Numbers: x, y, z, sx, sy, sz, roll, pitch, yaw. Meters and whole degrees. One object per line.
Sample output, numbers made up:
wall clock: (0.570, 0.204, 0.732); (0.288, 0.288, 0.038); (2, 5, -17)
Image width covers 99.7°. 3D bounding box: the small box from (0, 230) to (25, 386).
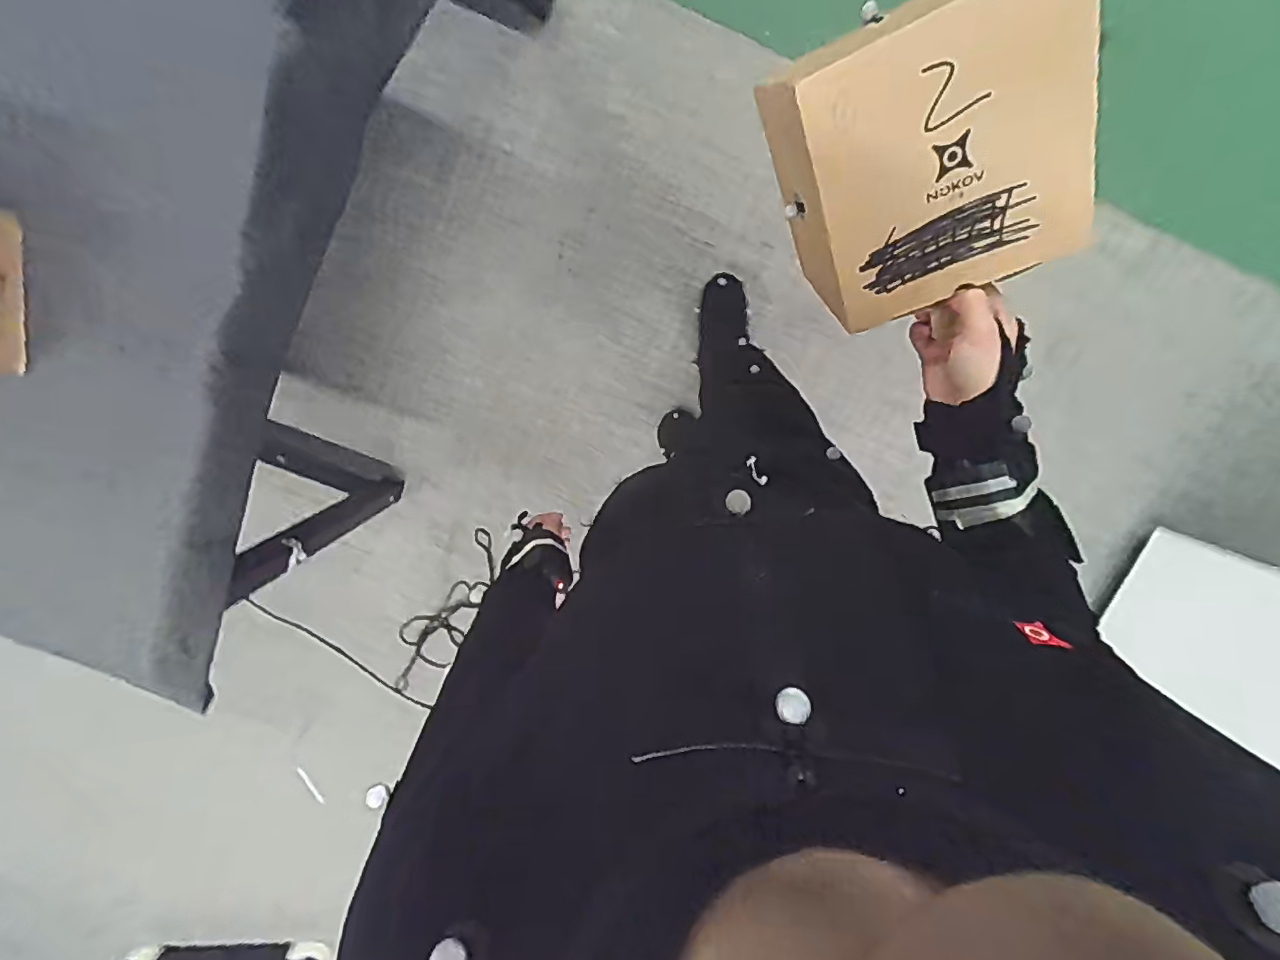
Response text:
small box: (-0.739, -0.176, 0.492); (0.179, 0.176, 0.168); (13, 104, -3)
